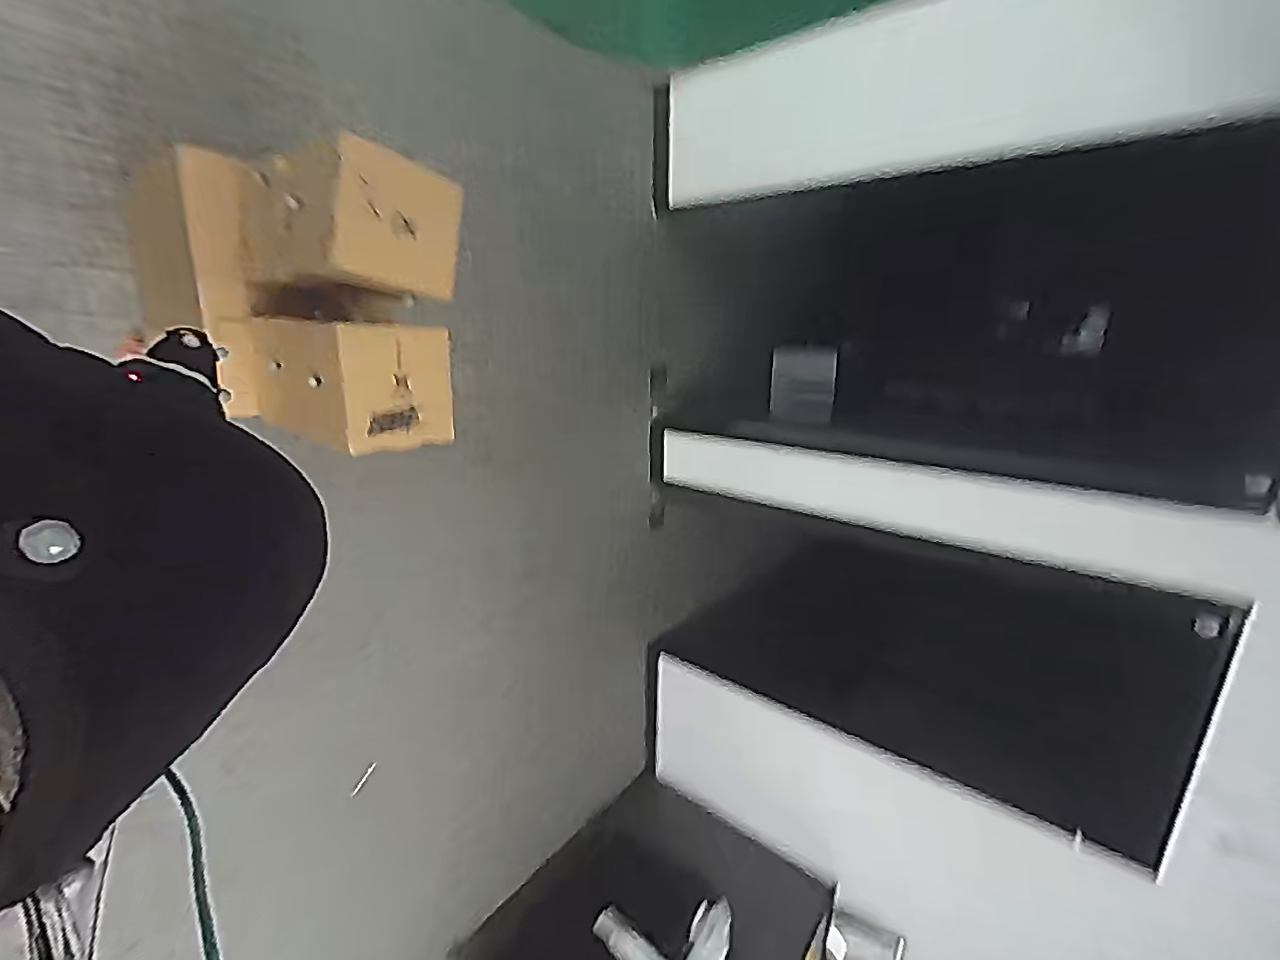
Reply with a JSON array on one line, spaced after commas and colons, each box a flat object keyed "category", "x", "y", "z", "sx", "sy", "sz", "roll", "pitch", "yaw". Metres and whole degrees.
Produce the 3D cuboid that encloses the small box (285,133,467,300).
[{"category": "small box", "x": -0.386, "y": -0.372, "z": 0.794, "sx": 0.179, "sy": 0.176, "sz": 0.168, "roll": 0, "pitch": 102, "yaw": -52}]
